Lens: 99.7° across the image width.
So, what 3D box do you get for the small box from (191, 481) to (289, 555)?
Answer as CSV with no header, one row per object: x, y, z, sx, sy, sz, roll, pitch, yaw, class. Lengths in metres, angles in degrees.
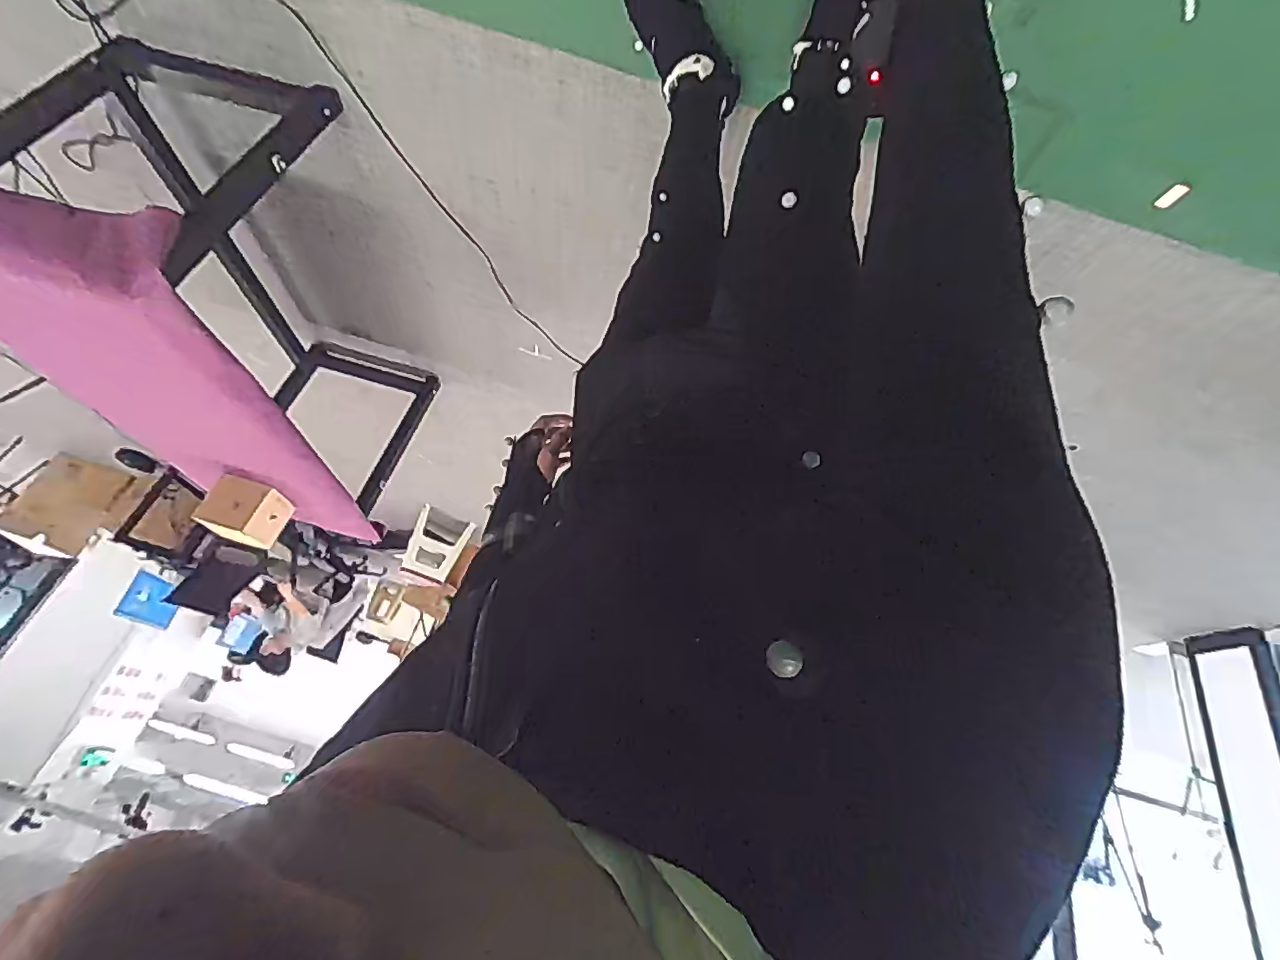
-1.294,0.122,1.773,0.179,0.176,0.168,15,151,2,small box
